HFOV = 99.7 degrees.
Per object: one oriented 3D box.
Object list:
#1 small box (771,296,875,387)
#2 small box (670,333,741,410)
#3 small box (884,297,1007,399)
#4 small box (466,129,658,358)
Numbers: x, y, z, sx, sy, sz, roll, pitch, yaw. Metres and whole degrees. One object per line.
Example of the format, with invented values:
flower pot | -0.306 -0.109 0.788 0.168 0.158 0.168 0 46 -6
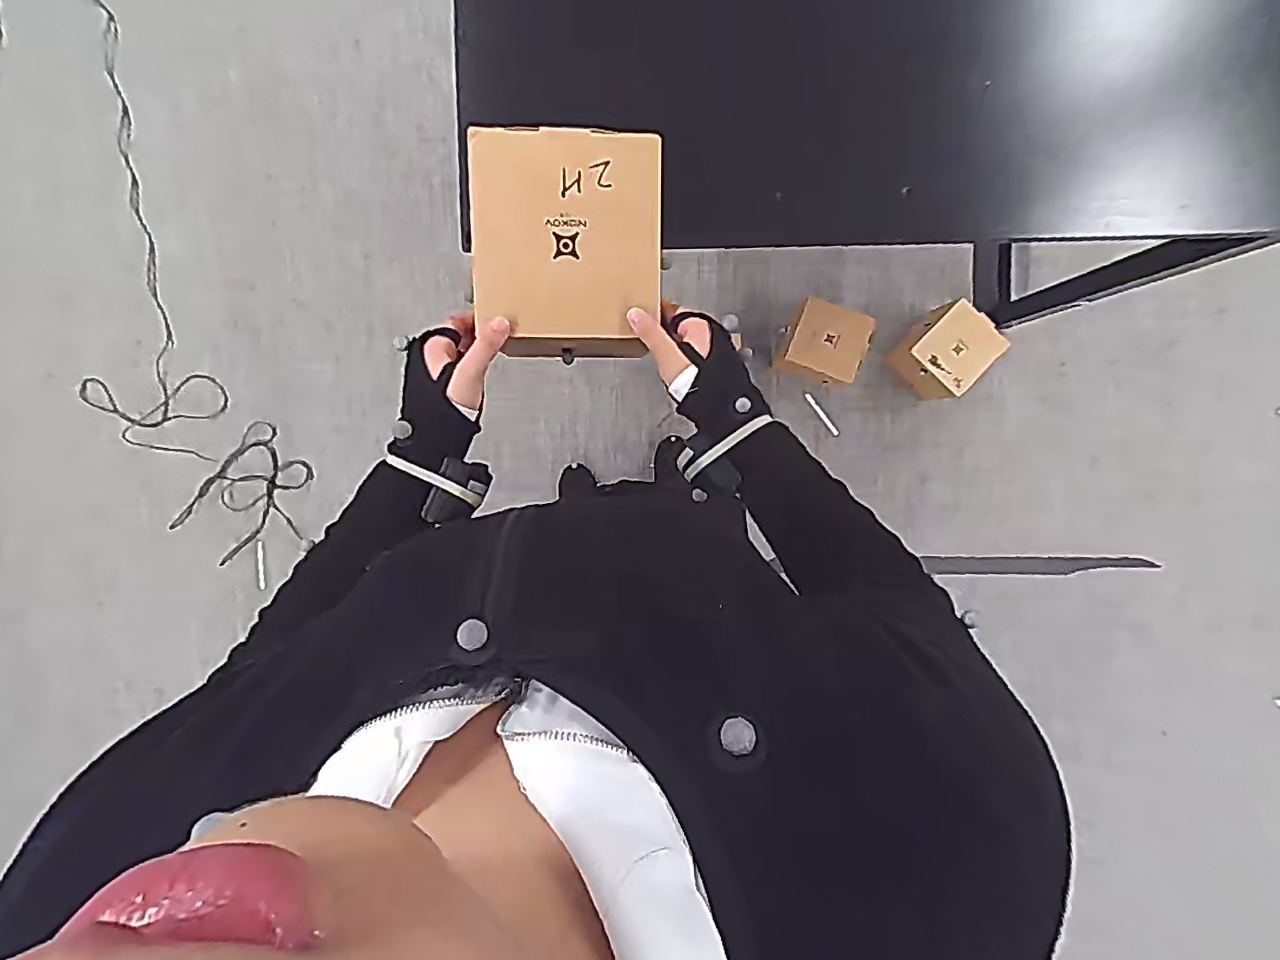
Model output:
small box | 0.457 -0.343 1.374 0.179 0.176 0.168 20 94 1
small box | 0.164 -0.273 1.387 0.168 0.176 0.179 -2 96 2
small box | 0.759 -0.324 1.364 0.168 0.176 0.179 43 95 -2
small box | -0.071 -0.220 0.550 0.168 0.176 0.179 -1 96 -4
